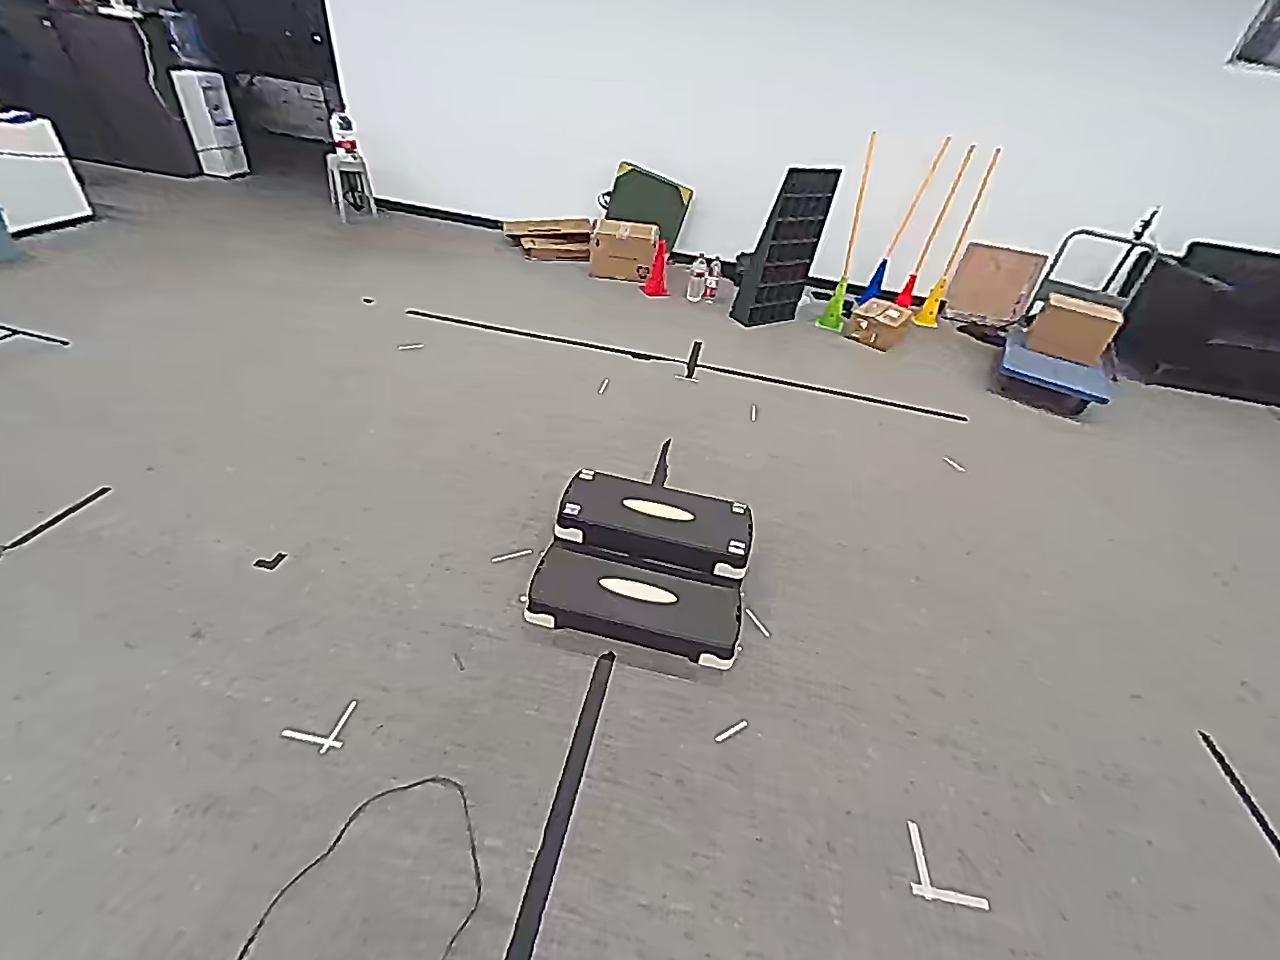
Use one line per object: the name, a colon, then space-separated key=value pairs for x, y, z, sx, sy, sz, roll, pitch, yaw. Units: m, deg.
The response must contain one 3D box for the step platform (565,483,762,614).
step platform: x=0.085 y=0.230 z=1.924 sx=0.684 sy=0.204 sz=0.286 roll=15 pitch=38 yaw=8
